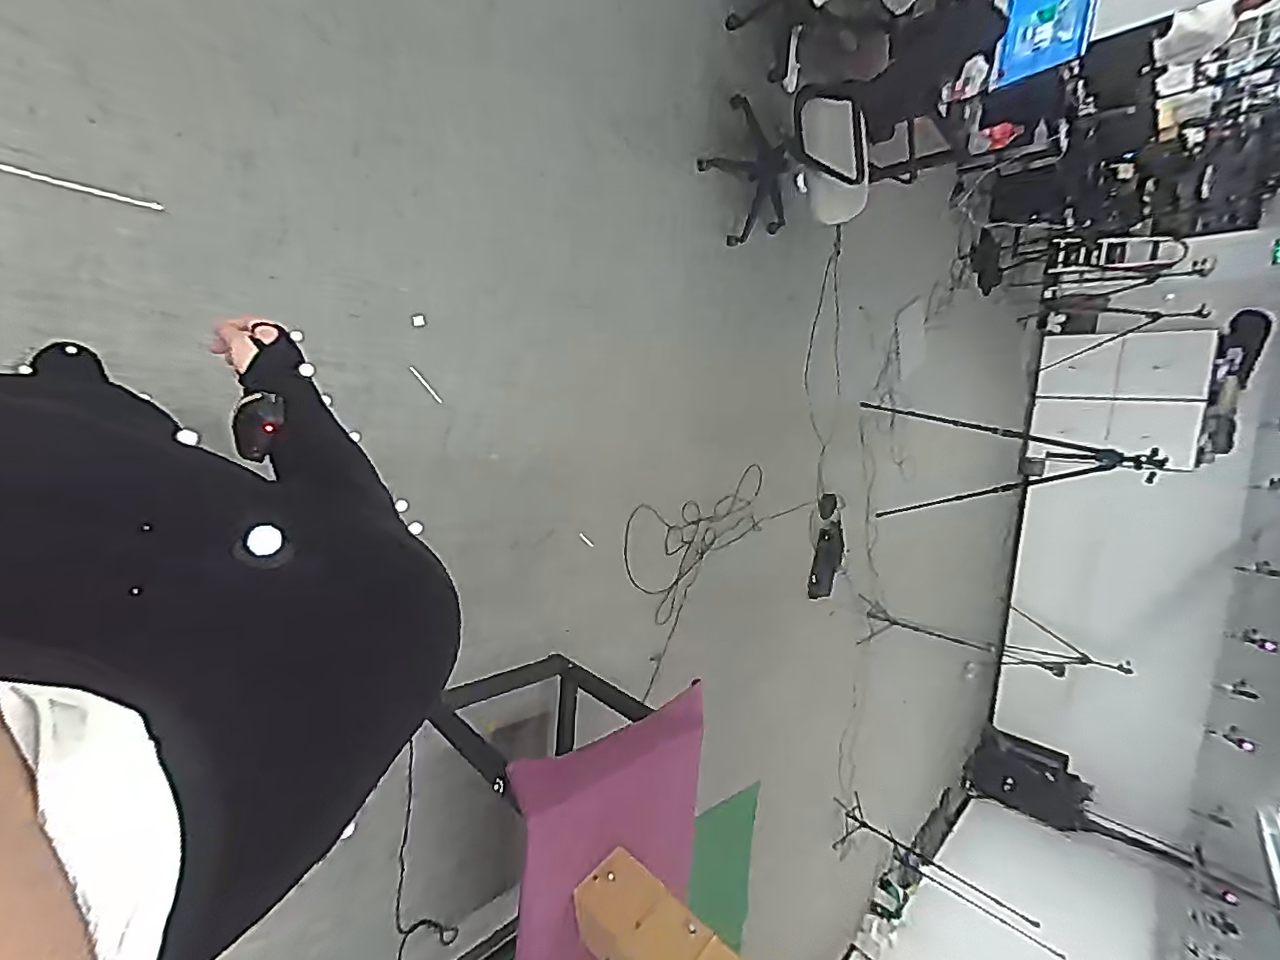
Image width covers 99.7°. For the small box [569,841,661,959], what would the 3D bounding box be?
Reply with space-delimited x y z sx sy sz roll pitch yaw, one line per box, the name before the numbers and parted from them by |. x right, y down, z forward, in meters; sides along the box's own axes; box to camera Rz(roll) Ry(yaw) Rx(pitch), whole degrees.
small box | -0.065 1.095 1.401 0.168 0.176 0.179 -20 112 -43

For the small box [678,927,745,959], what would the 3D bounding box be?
small box | 0.165 1.141 1.174 0.168 0.176 0.179 -22 113 -42
